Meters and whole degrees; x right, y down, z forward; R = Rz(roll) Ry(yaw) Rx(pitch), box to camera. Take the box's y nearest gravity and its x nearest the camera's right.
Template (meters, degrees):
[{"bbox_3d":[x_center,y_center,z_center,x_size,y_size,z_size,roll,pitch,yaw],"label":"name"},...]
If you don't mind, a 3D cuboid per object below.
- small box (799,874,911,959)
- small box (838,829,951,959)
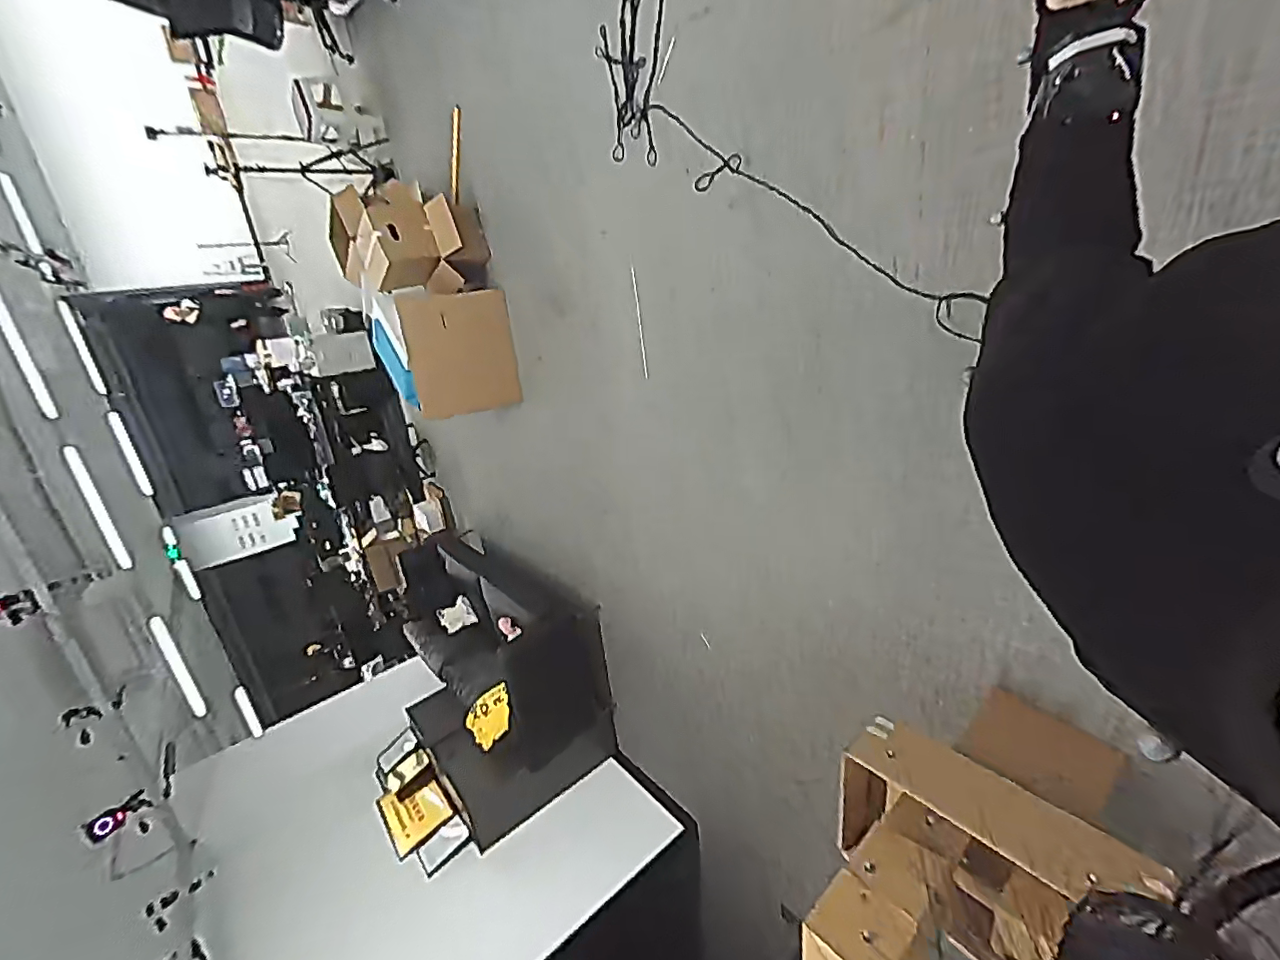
[{"bbox_3d":[0.456,0.999,1.146,0.168,0.176,0.179,17,121,46],"label":"small box"},{"bbox_3d":[0.581,0.945,1.233,0.179,0.176,0.168,6,113,50],"label":"small box"}]
